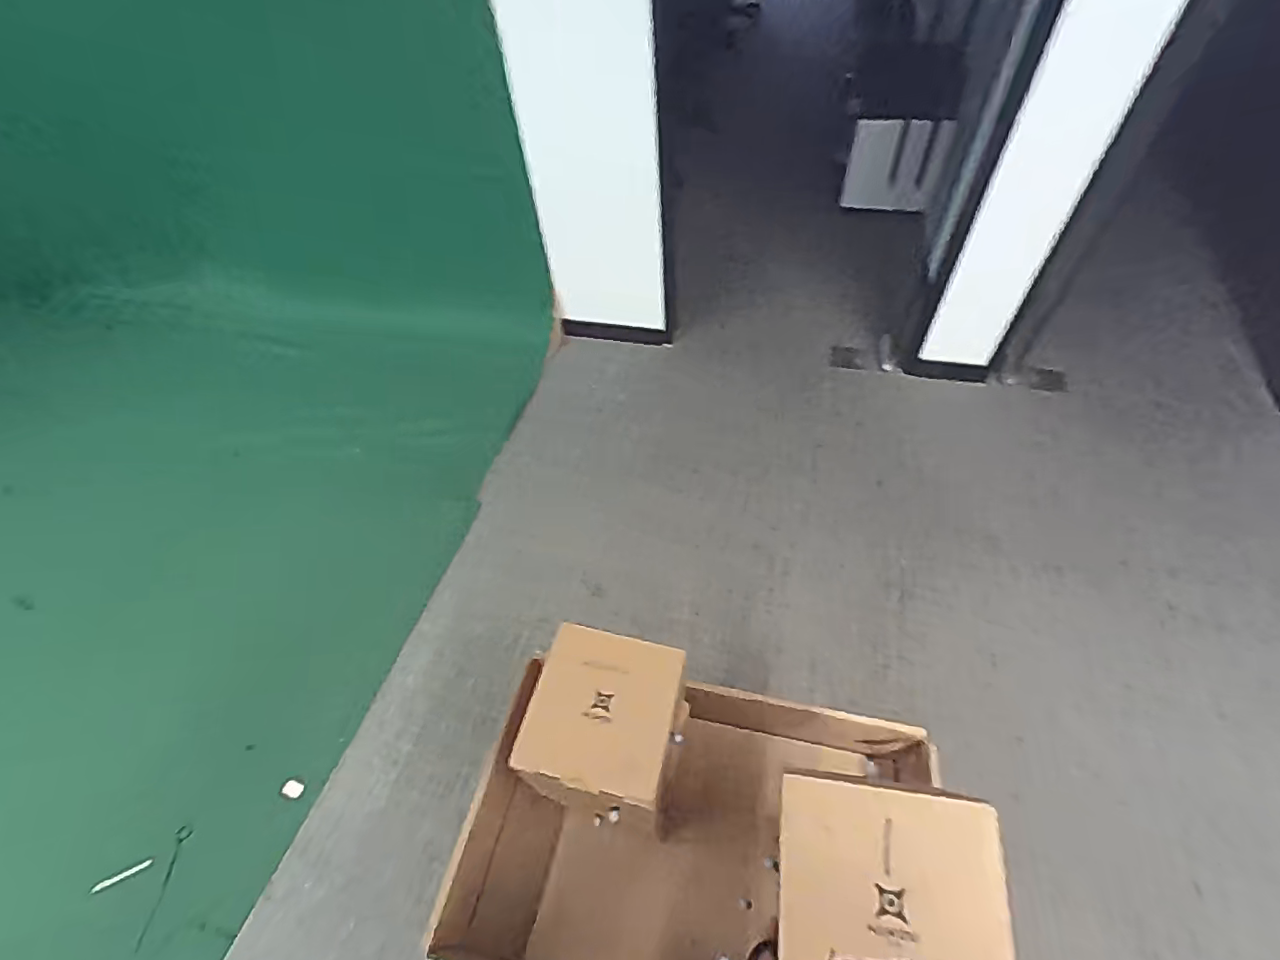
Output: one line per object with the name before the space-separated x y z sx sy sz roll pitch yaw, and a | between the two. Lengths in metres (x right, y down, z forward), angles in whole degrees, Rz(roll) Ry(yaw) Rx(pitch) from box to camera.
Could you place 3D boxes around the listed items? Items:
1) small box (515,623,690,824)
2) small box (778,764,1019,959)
small box | -0.034 0.315 0.692 0.168 0.176 0.179 11 53 12
small box | 0.210 0.364 0.479 0.168 0.176 0.179 2 66 14
